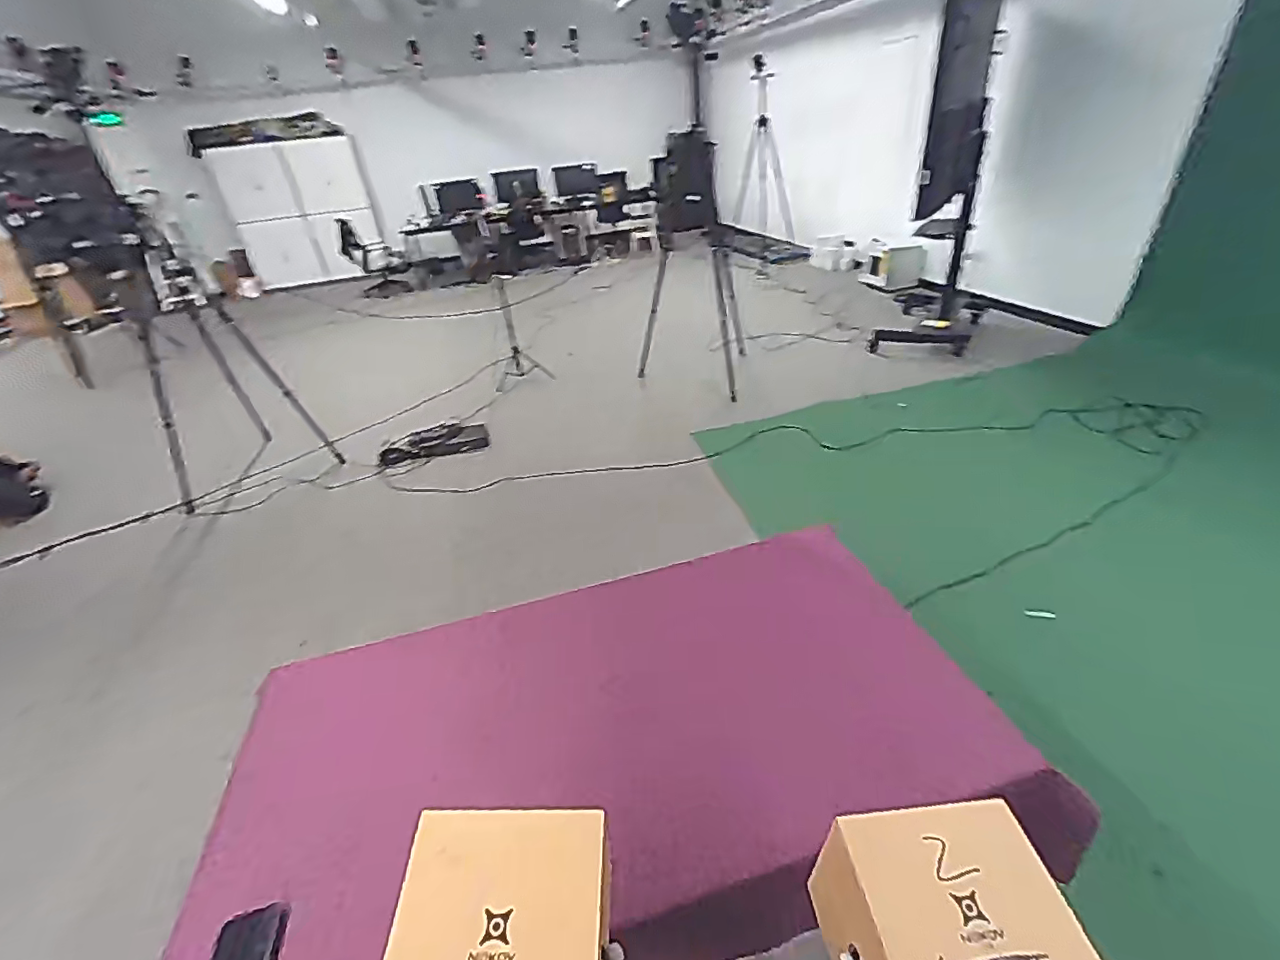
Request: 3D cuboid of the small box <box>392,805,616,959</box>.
[{"bbox_3d":[-0.108,0.412,0.475,0.168,0.176,0.179,2,43,0],"label":"small box"}]
